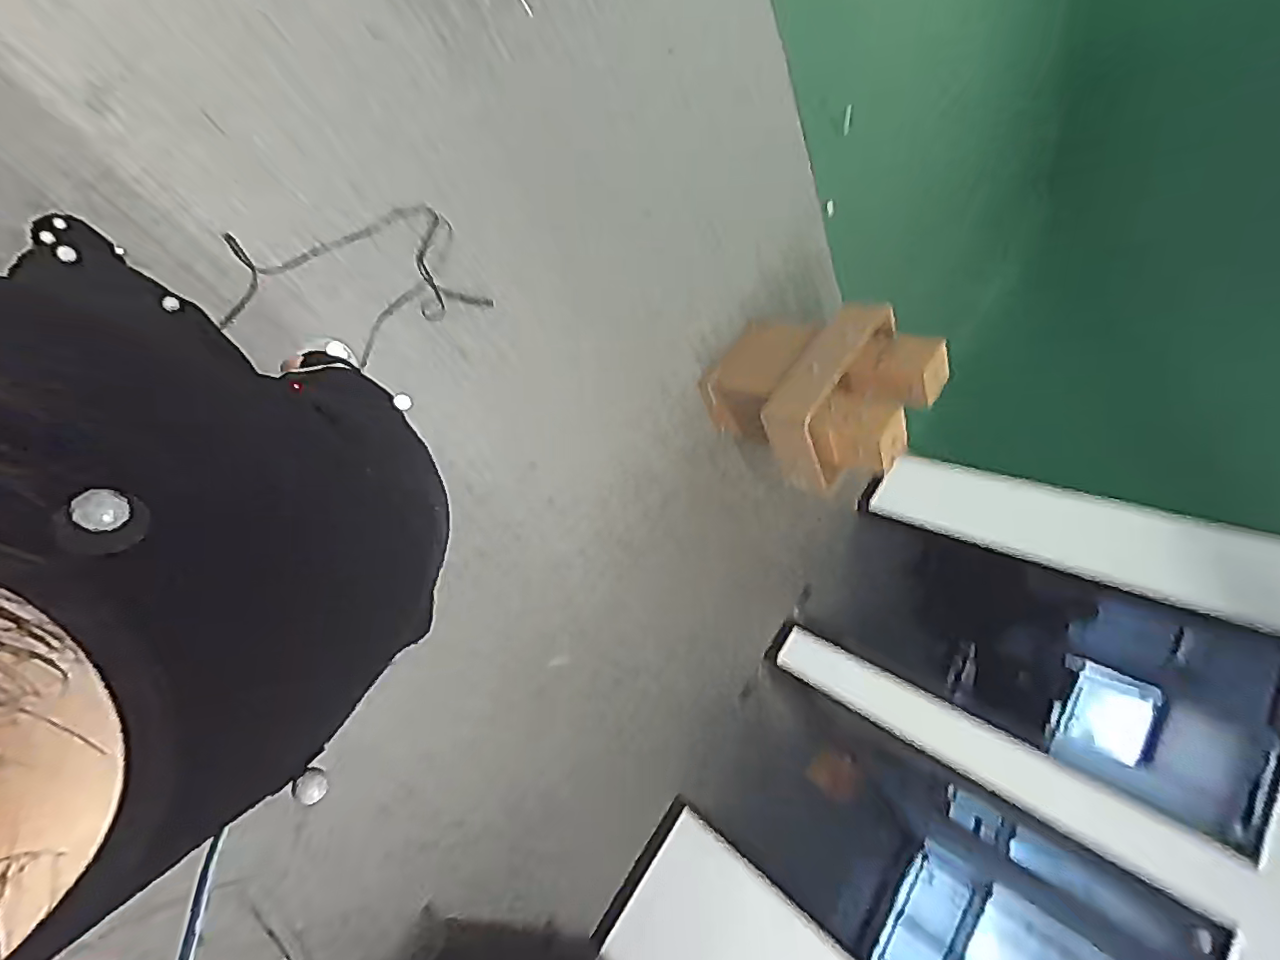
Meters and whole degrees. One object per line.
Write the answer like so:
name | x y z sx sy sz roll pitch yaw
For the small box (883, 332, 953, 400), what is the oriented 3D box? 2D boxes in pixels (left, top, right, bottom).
small box | 0.989 -0.412 1.930 0.168 0.176 0.179 -53 135 -13

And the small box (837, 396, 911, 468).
small box | 0.793 -0.170 1.836 0.168 0.176 0.179 -49 132 -18
